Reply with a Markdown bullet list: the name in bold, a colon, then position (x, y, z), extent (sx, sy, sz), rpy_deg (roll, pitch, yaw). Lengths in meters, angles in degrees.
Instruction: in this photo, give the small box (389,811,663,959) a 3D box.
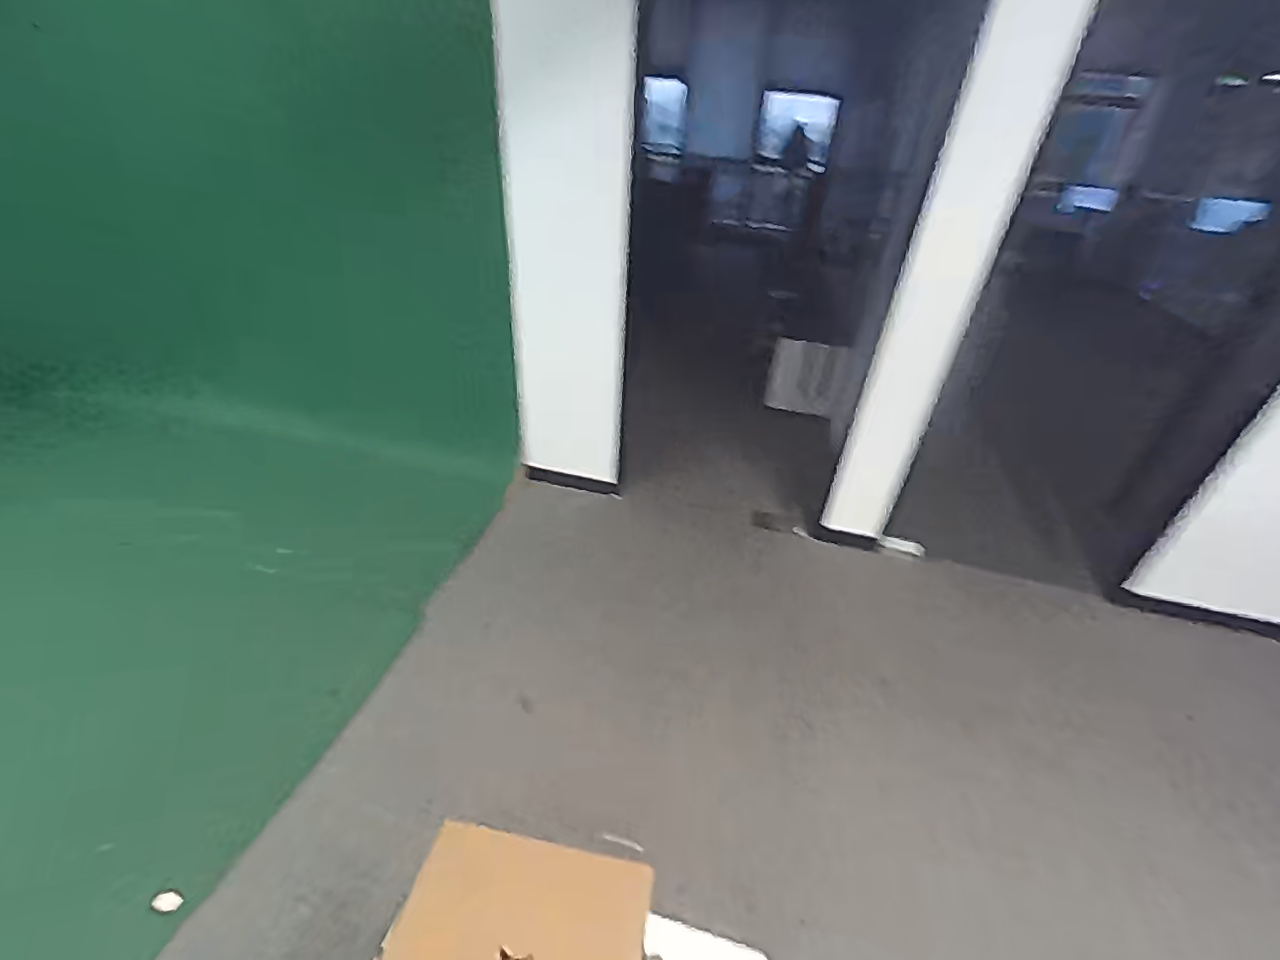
- **small box**: position (-0.083, 0.379, 0.378), extent (0.168, 0.176, 0.179), rpy_deg (8, 32, 7)
